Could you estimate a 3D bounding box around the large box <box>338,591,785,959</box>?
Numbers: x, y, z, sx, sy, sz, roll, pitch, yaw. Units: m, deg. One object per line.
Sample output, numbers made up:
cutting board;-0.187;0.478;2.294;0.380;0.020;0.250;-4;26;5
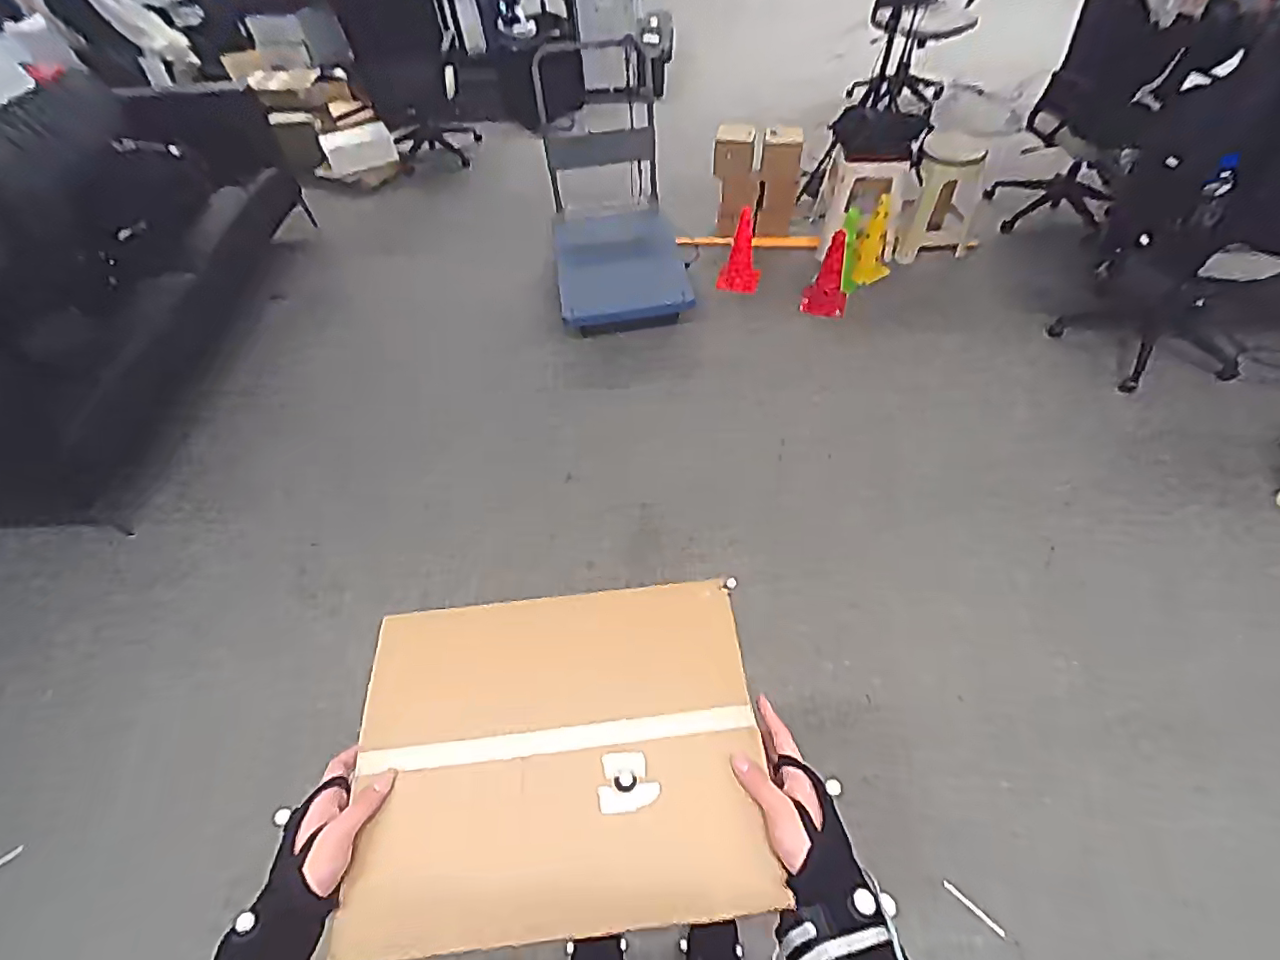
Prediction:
large box;-0.080;0.368;0.678;0.408;0.320;0.320;-6;55;-2
